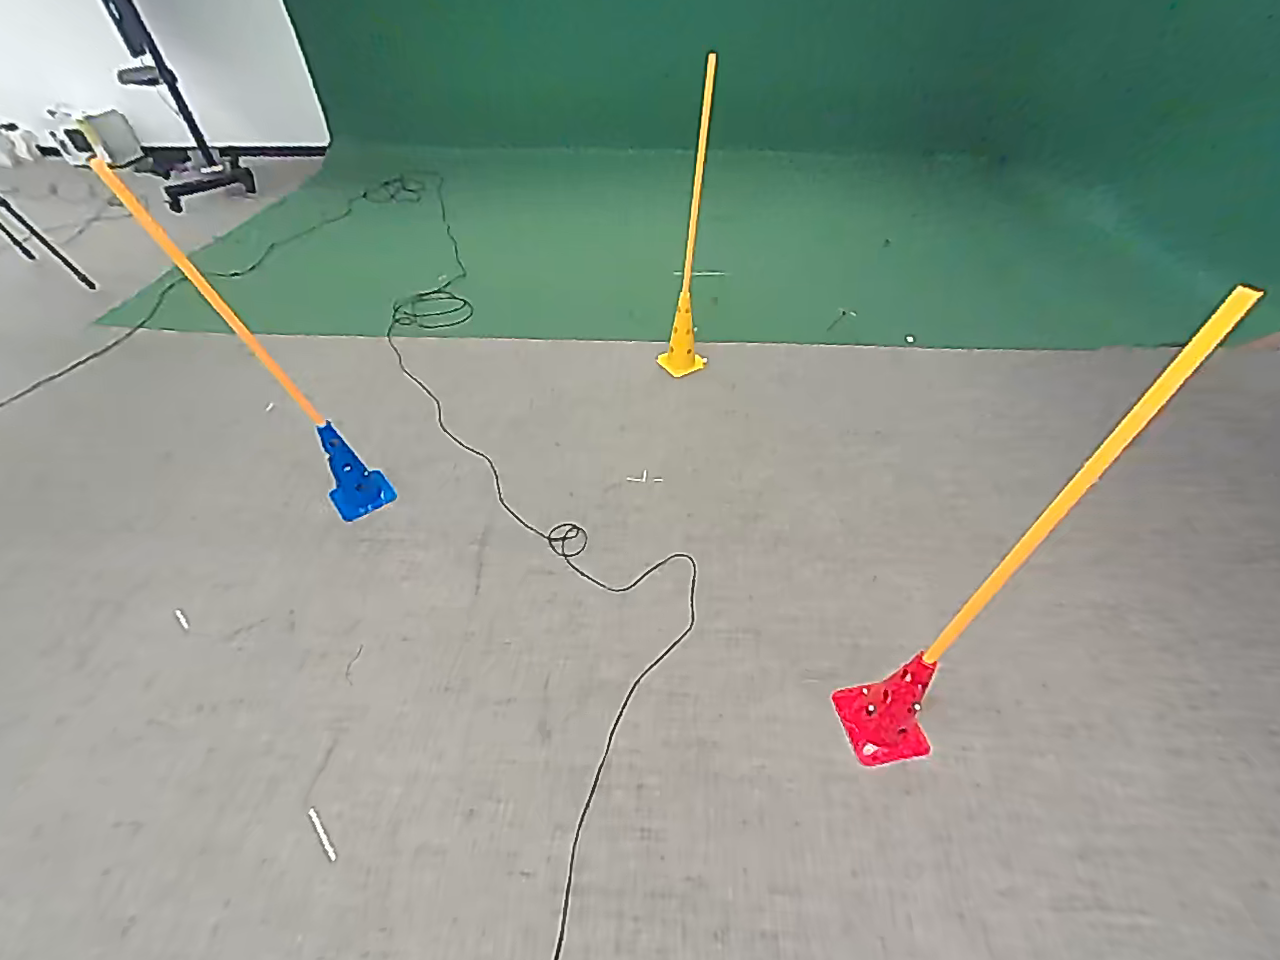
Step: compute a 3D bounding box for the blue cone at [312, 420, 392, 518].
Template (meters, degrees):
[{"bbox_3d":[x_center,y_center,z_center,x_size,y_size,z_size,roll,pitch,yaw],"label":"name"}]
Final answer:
[{"bbox_3d":[-1.047,-0.056,1.904,0.193,0.380,0.192,-34,55,-25],"label":"blue cone"}]
